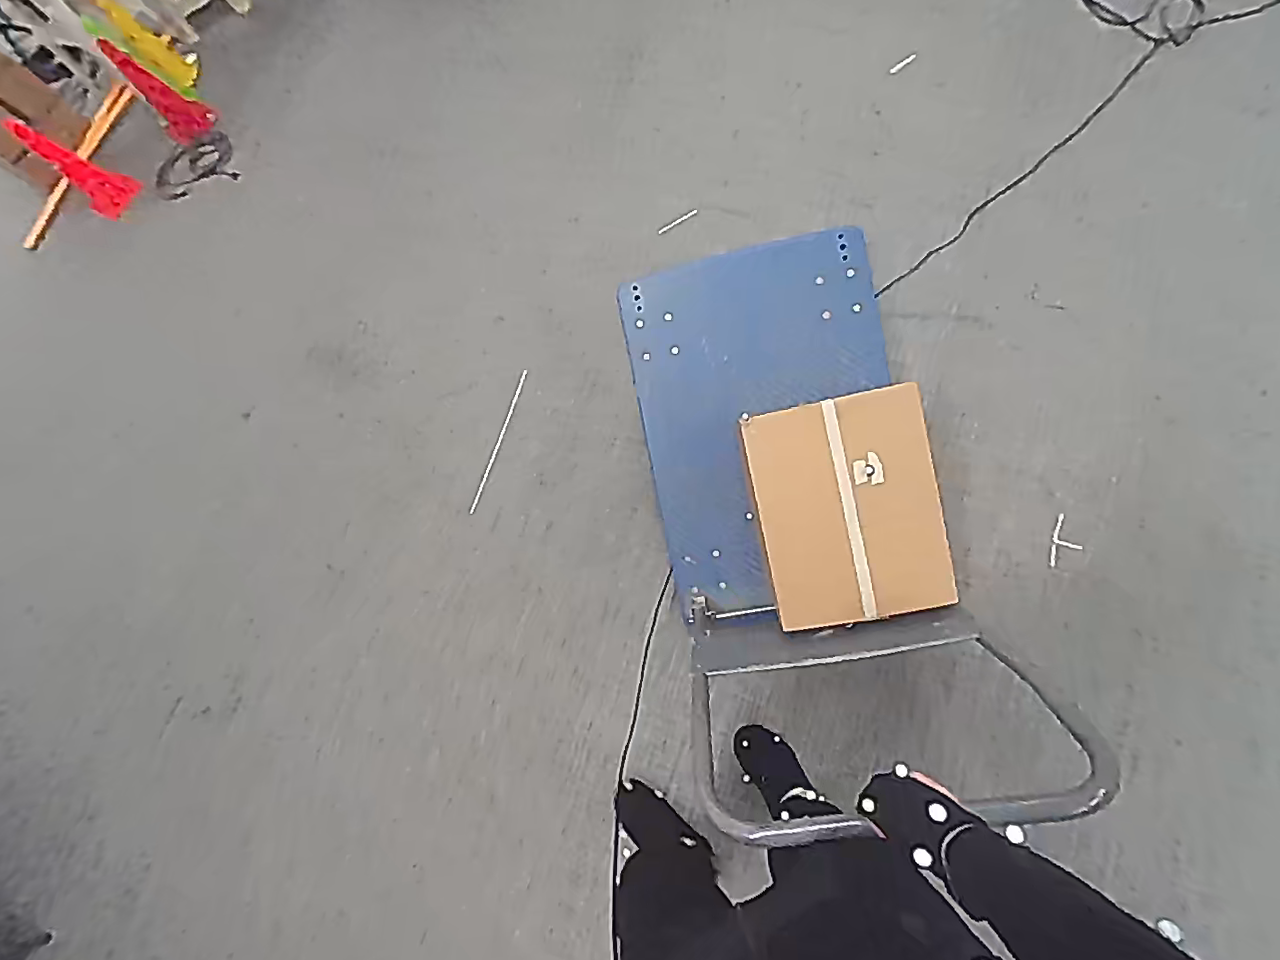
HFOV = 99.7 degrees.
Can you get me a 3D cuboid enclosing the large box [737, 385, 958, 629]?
[{"bbox_3d":[0.400,0.047,1.132,0.320,0.320,0.408,-13,92,8],"label":"large box"}]
